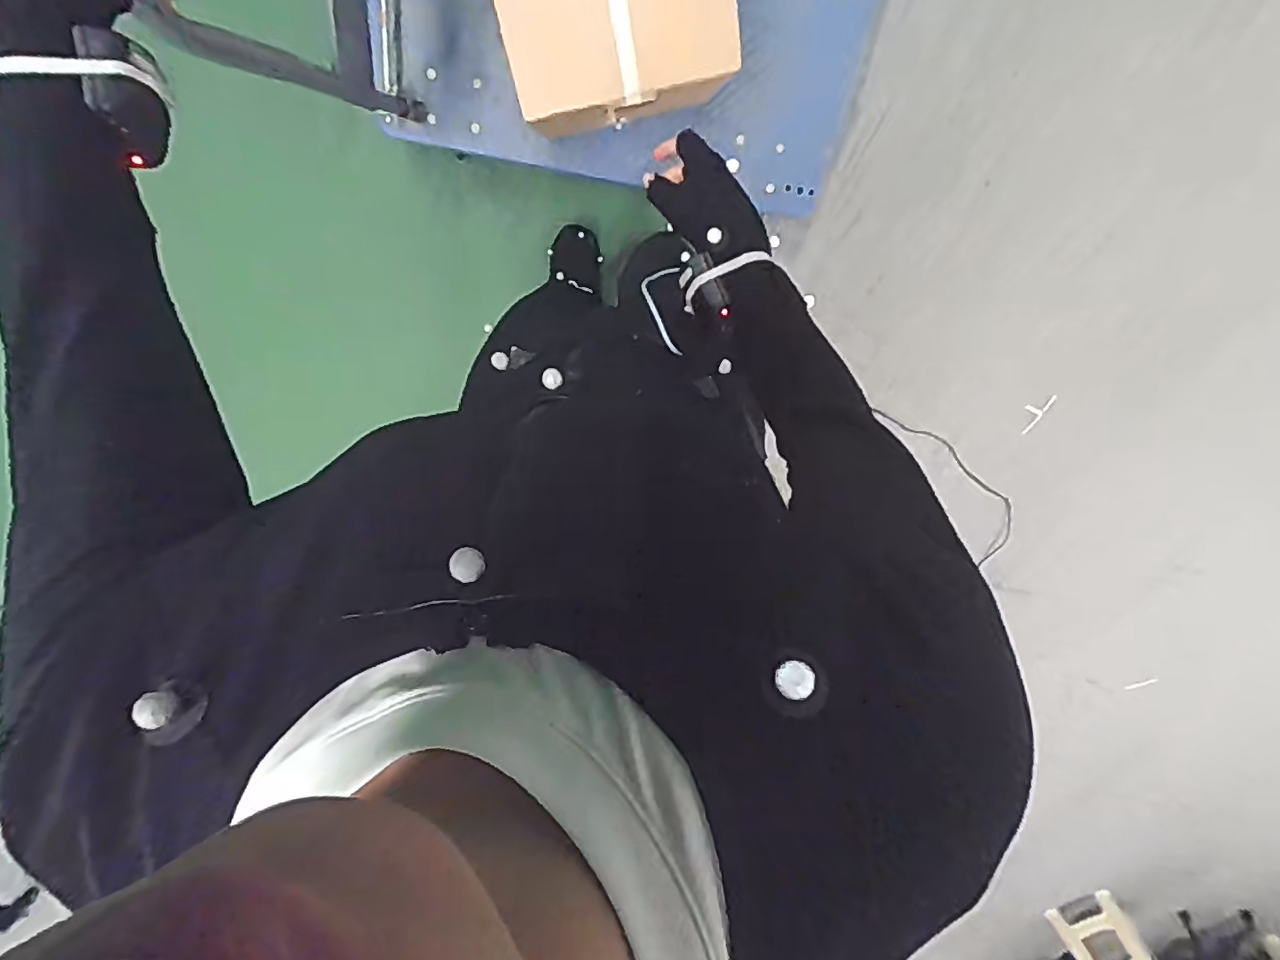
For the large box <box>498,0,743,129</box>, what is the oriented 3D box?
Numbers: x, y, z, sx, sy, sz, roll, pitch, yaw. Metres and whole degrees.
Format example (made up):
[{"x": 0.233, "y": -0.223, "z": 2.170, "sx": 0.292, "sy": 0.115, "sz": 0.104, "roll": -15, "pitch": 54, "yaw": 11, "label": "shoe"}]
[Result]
[{"x": -0.049, "y": -0.787, "z": 0.785, "sx": 0.320, "sy": 0.320, "sz": 0.408, "roll": -10, "pitch": 118, "yaw": 3, "label": "large box"}]
